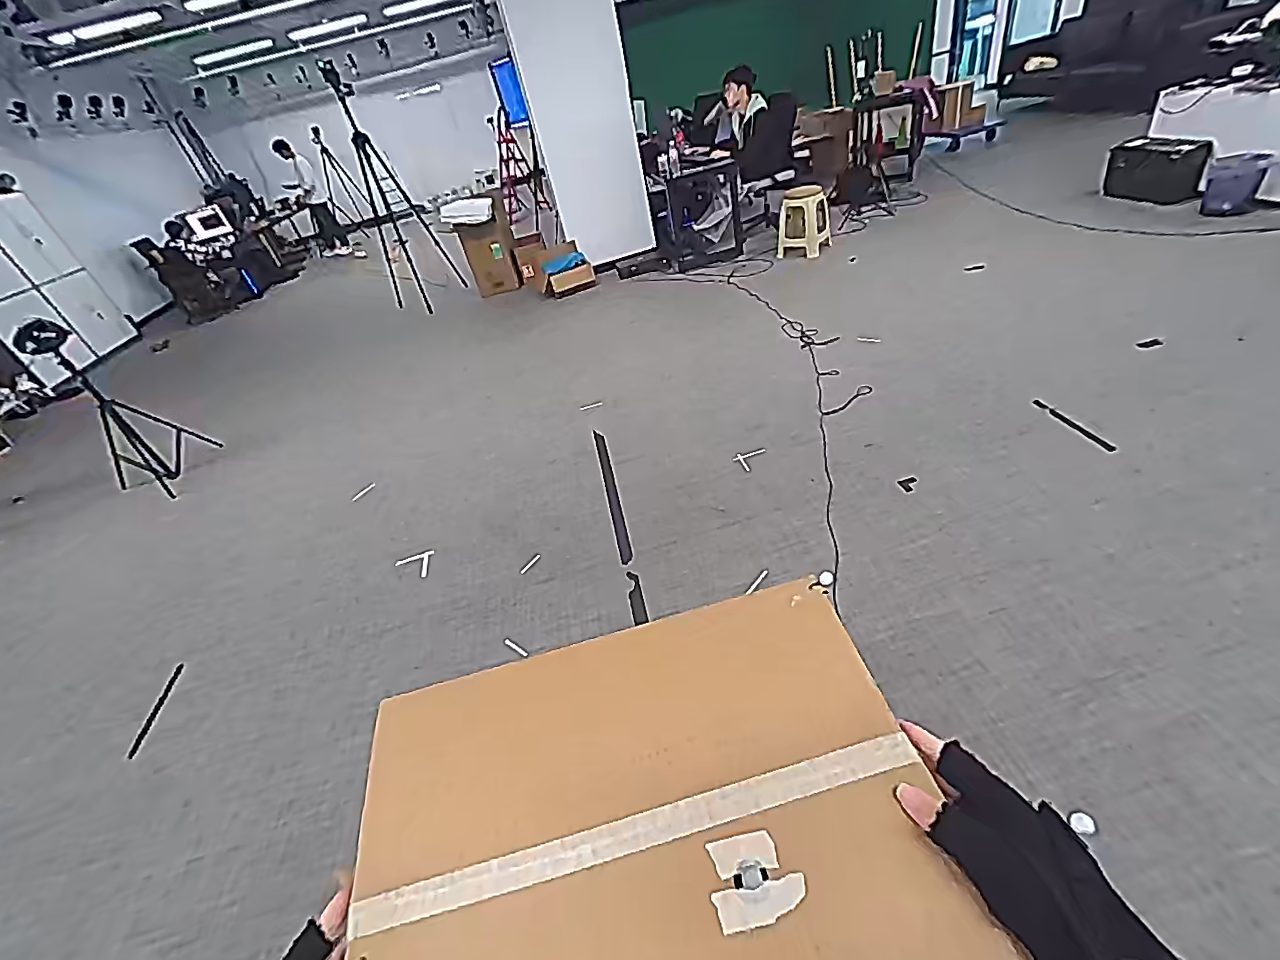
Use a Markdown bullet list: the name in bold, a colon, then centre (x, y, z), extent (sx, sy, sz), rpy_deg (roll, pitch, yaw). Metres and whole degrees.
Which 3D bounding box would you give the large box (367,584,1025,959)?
- **large box**: centre (0.025, 0.355, 0.492), extent (0.408, 0.320, 0.320), rpy_deg (-15, 45, -3)
